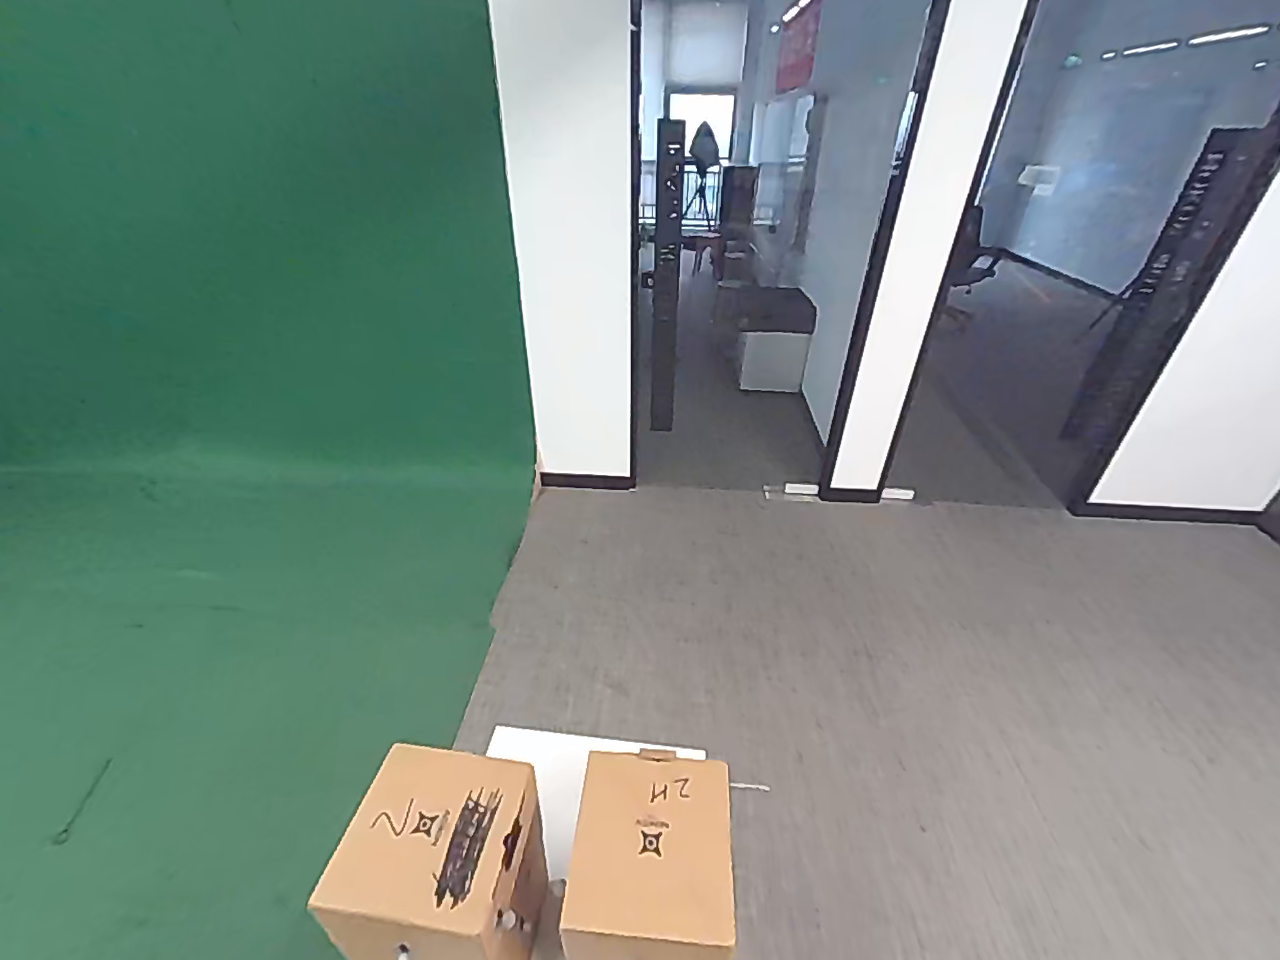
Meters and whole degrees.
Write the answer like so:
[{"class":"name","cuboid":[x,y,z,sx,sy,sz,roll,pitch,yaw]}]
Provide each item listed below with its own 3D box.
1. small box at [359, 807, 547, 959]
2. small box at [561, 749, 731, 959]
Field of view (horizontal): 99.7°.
[{"class":"small box","cuboid":[-0.230,0.571,0.716,0.179,0.176,0.168,7,34,4]},{"class":"small box","cuboid":[0.013,0.443,0.618,0.168,0.176,0.179,3,33,4]}]
